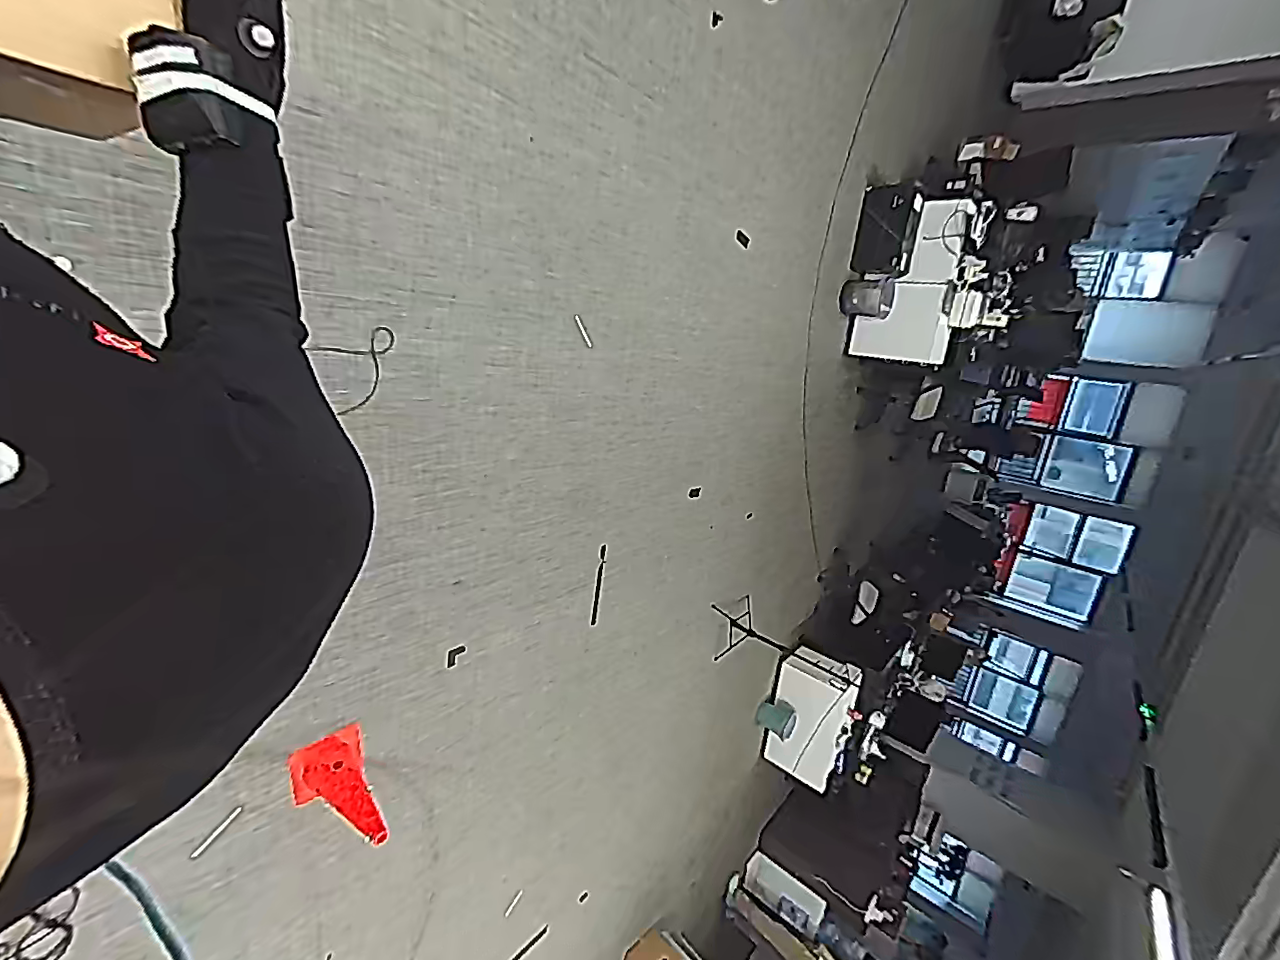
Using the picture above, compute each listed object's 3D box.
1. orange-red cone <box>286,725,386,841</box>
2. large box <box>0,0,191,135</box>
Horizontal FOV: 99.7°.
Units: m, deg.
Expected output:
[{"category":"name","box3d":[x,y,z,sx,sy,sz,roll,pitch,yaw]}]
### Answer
[{"category":"orange-red cone","box3d":[-0.838,0.912,1.555,0.198,0.360,0.199,-15,115,-49]},{"category":"large box","box3d":[-0.555,-0.431,0.288,0.408,0.320,0.320,-14,118,-52]}]
